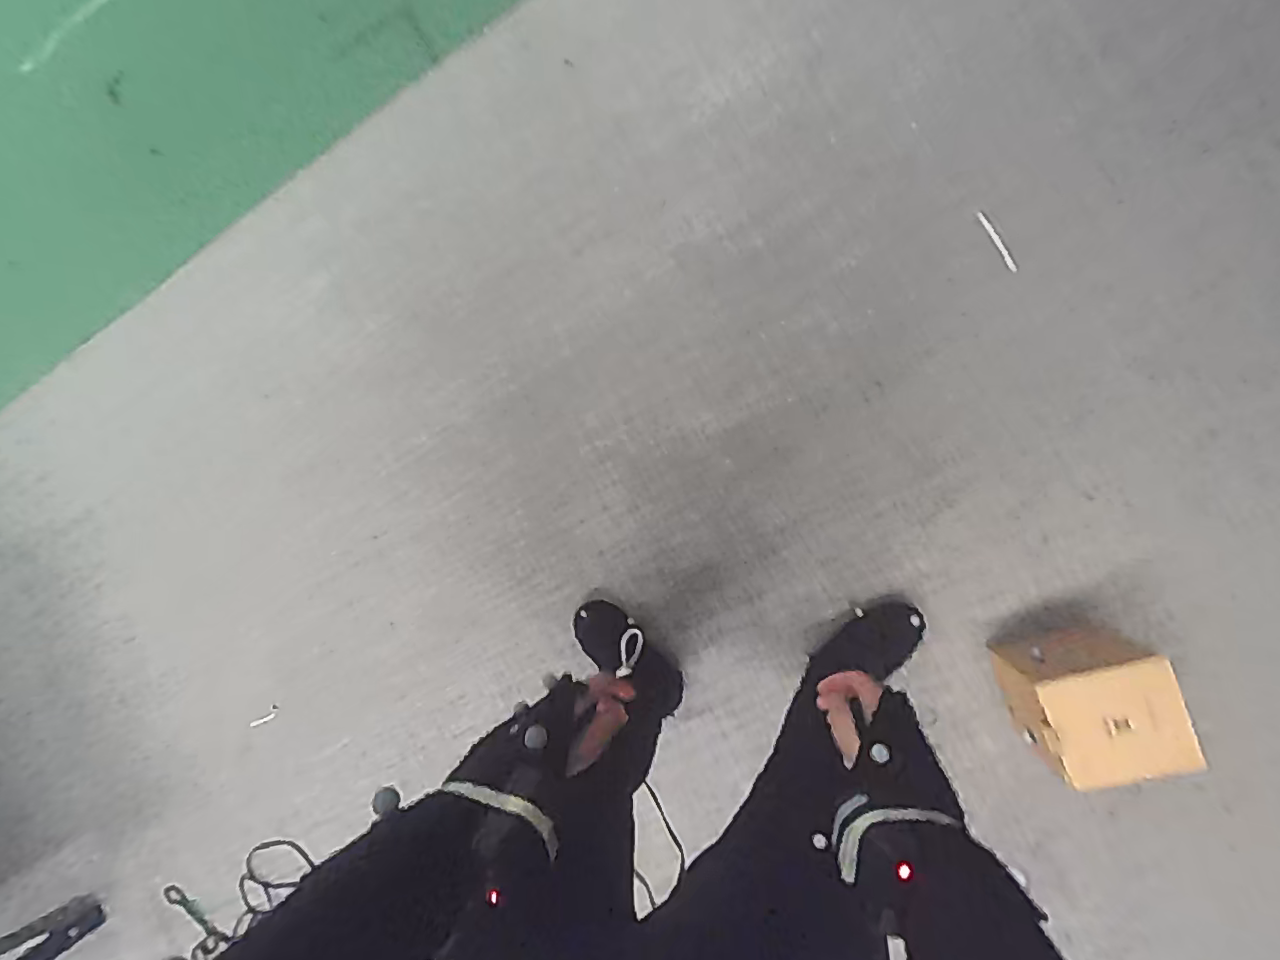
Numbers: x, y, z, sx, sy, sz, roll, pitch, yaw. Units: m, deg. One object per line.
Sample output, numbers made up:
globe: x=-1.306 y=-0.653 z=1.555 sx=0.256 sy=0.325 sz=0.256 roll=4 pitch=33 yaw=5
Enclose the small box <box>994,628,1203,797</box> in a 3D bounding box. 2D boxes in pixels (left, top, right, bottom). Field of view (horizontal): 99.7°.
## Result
small box: x=0.688 y=0.350 z=0.842 sx=0.179 sy=0.176 sz=0.168 roll=-19 pitch=89 yaw=10
